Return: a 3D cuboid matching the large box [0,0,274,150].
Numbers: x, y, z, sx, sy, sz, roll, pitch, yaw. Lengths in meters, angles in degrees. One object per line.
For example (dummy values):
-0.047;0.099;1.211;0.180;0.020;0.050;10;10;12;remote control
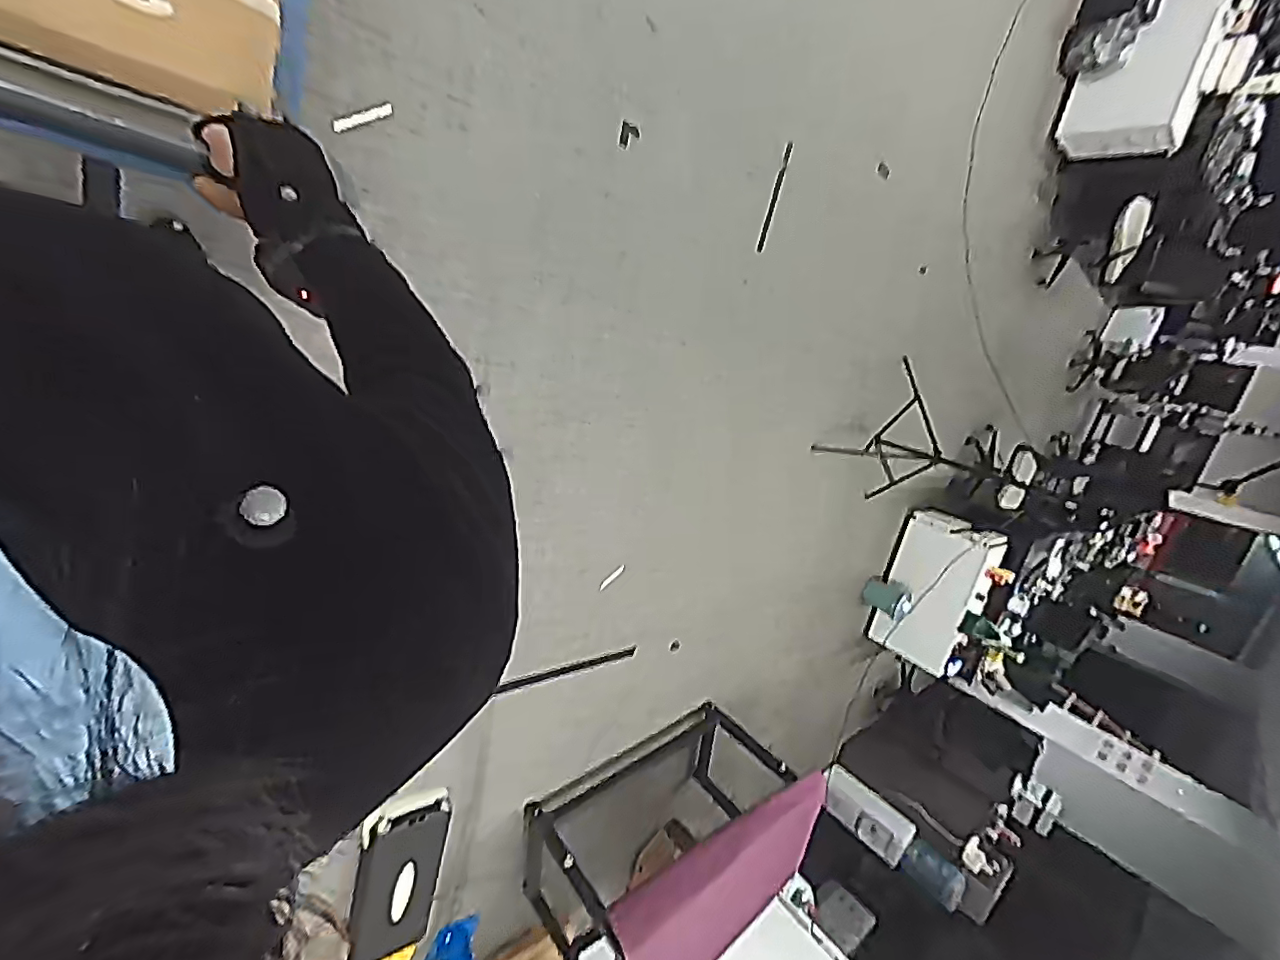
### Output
-0.745;-0.690;0.710;0.408;0.320;0.320;0;110;-43;large box
